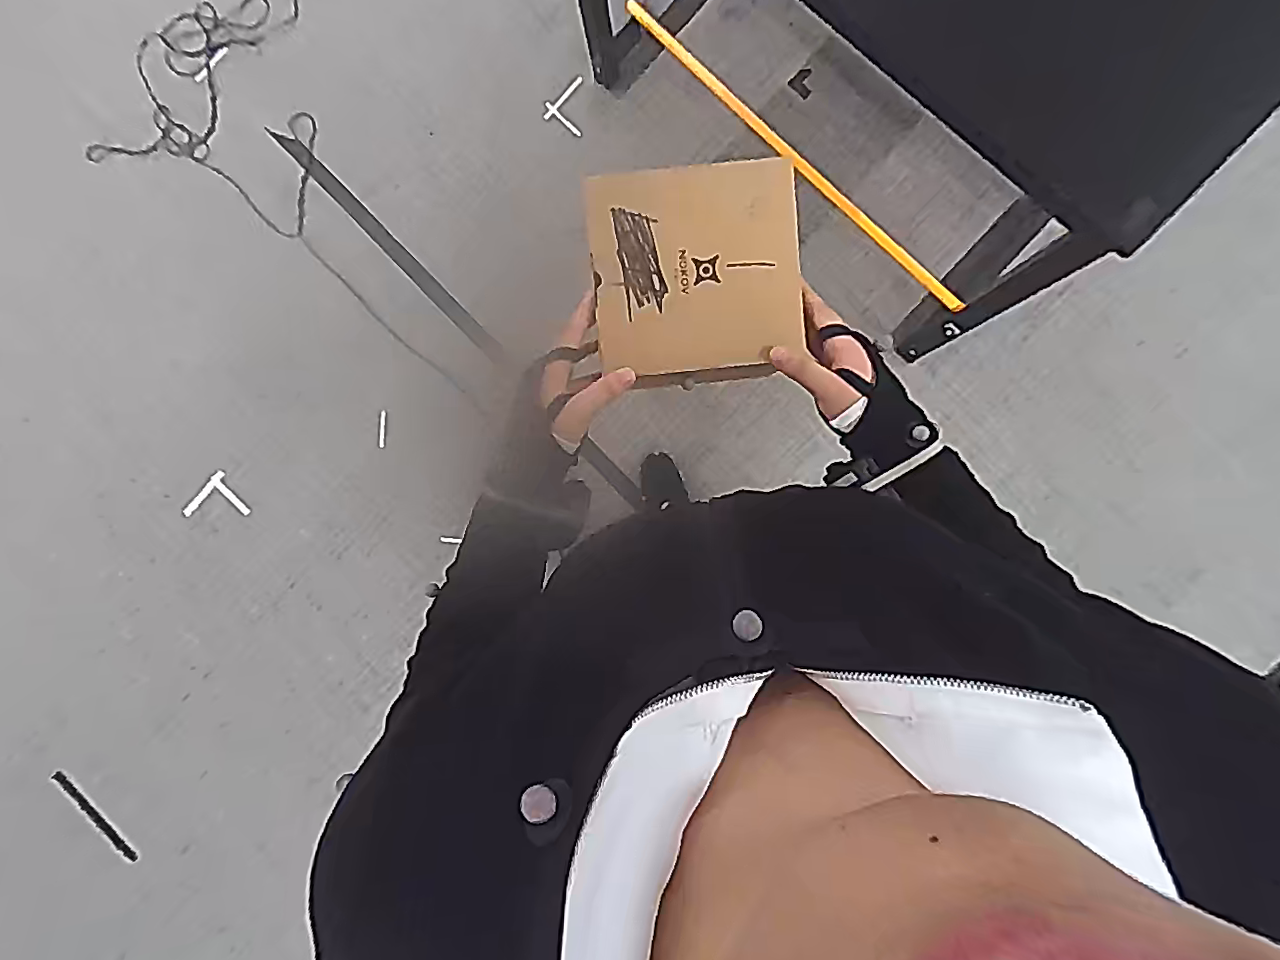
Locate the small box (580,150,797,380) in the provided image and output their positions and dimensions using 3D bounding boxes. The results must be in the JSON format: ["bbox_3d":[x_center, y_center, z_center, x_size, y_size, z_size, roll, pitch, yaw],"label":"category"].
[{"bbox_3d":[0.044,-0.193,0.535,0.179,0.176,0.168,-5,96,1],"label":"small box"}]
